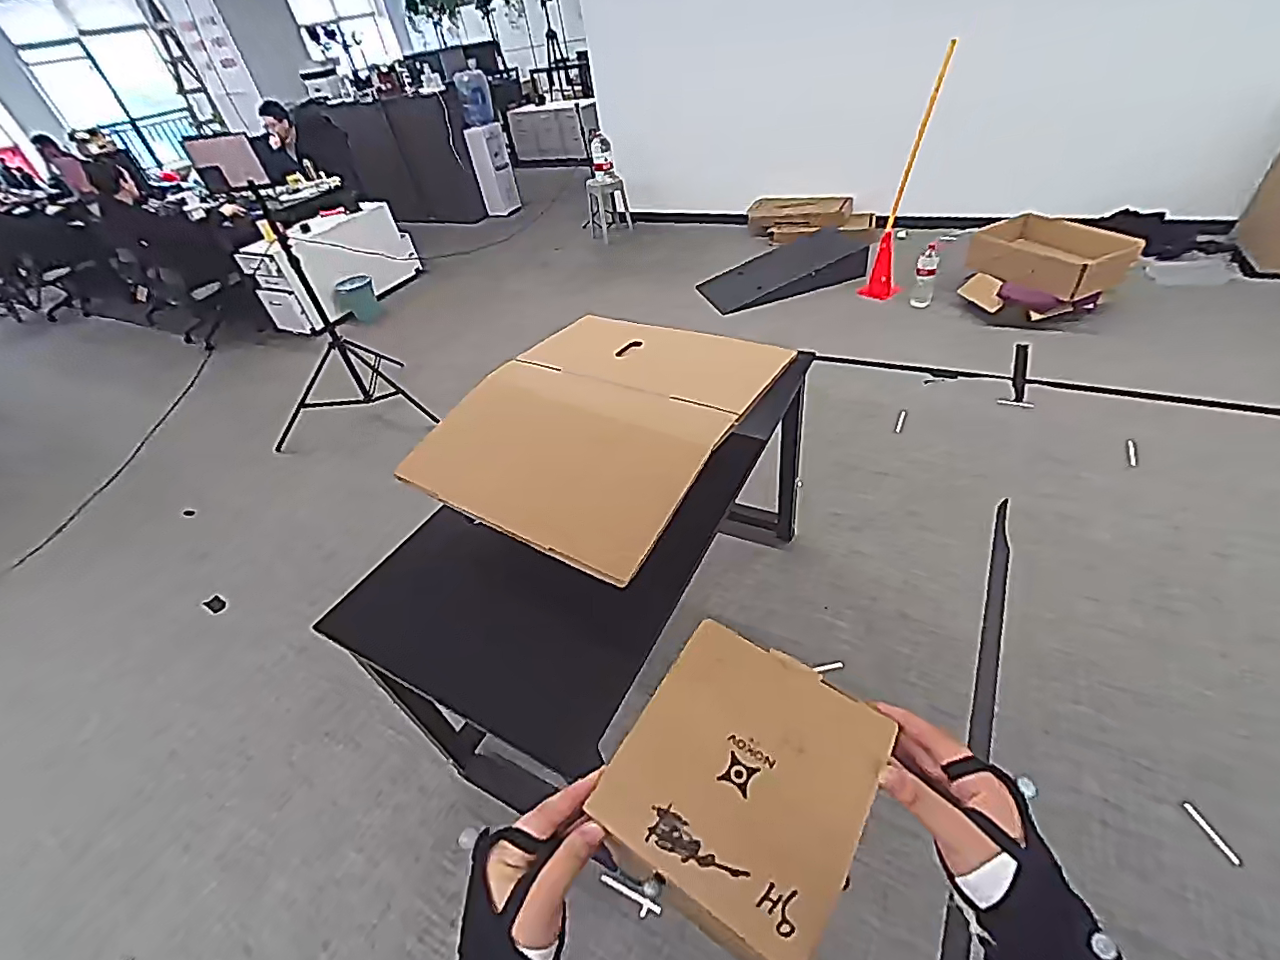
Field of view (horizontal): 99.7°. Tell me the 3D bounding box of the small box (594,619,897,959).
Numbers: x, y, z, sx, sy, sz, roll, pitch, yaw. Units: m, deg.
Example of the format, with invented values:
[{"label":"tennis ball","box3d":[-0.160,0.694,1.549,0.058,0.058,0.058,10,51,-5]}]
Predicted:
[{"label":"small box","box3d":[0.083,0.259,0.450,0.168,0.176,0.179,24,53,26]}]
